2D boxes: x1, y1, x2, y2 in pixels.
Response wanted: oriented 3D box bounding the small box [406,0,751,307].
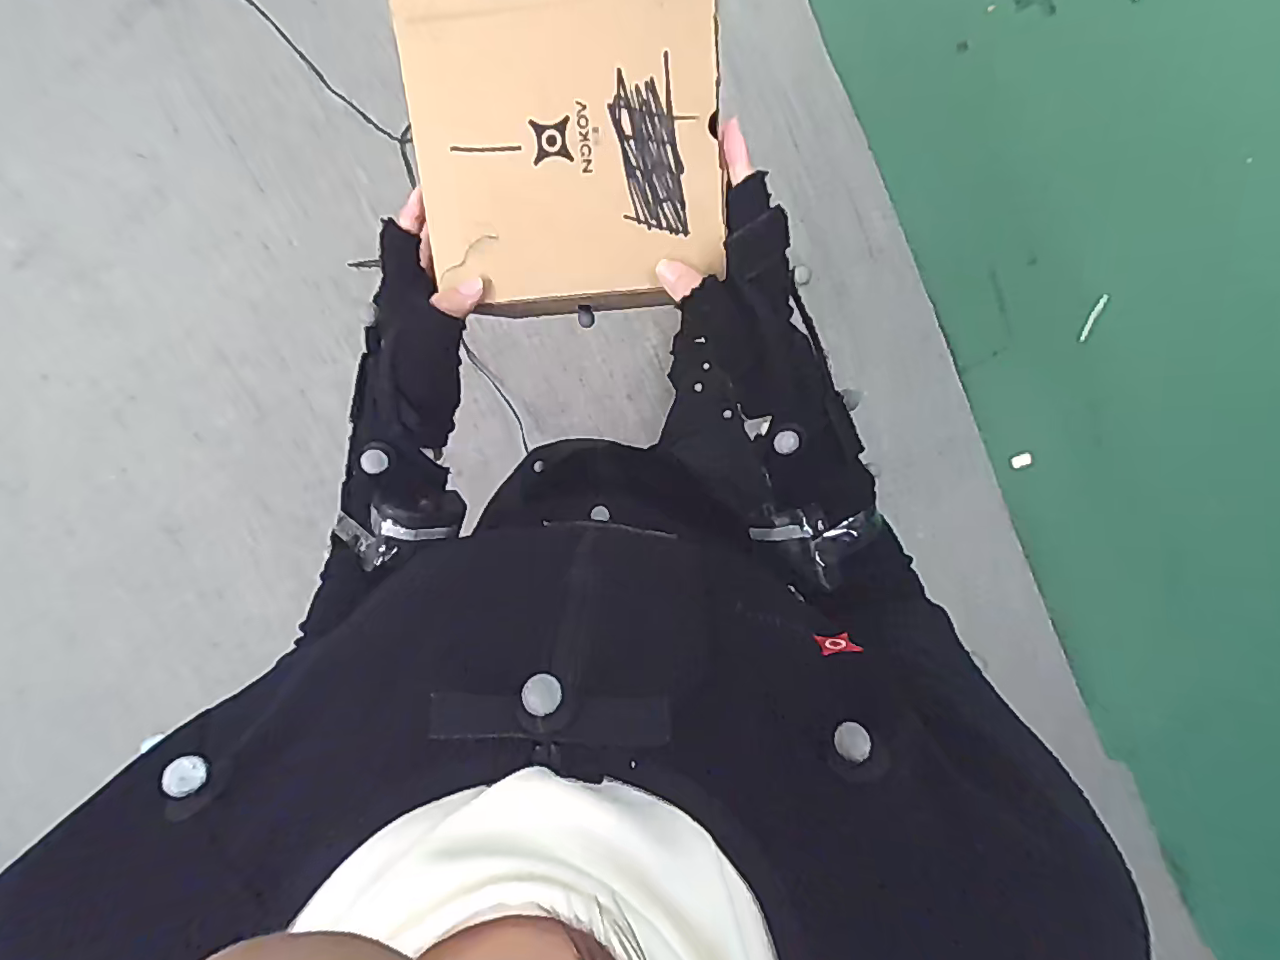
[{"bbox_3d":[-0.030,-0.221,0.382,0.179,0.176,0.168,-8,105,3],"label":"small box"}]
